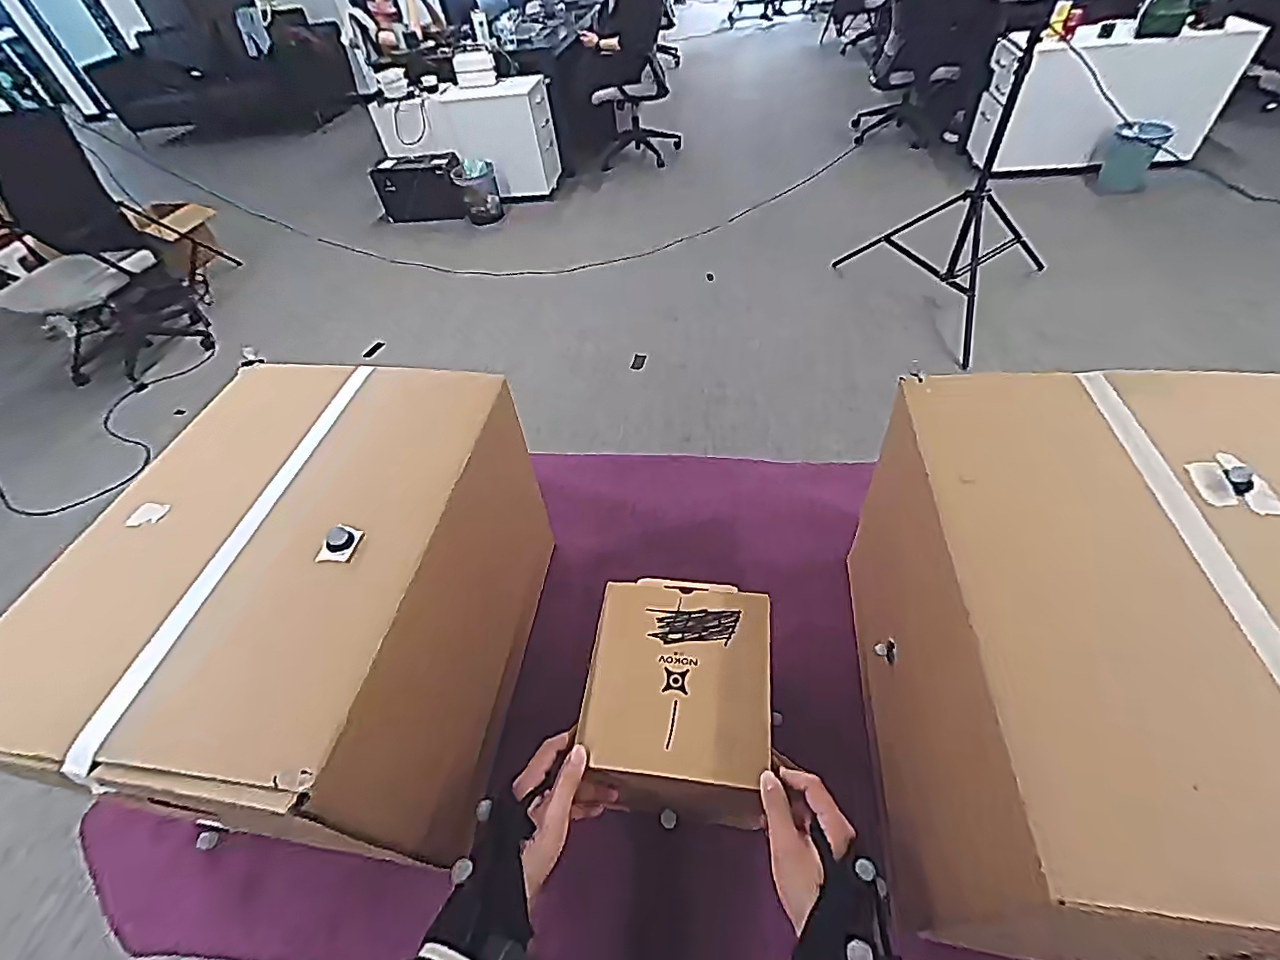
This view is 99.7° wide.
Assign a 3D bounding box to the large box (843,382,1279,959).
[{"bbox_3d":[0.383,0.162,0.473,0.320,0.320,0.408,2,47,9],"label":"large box"}]
